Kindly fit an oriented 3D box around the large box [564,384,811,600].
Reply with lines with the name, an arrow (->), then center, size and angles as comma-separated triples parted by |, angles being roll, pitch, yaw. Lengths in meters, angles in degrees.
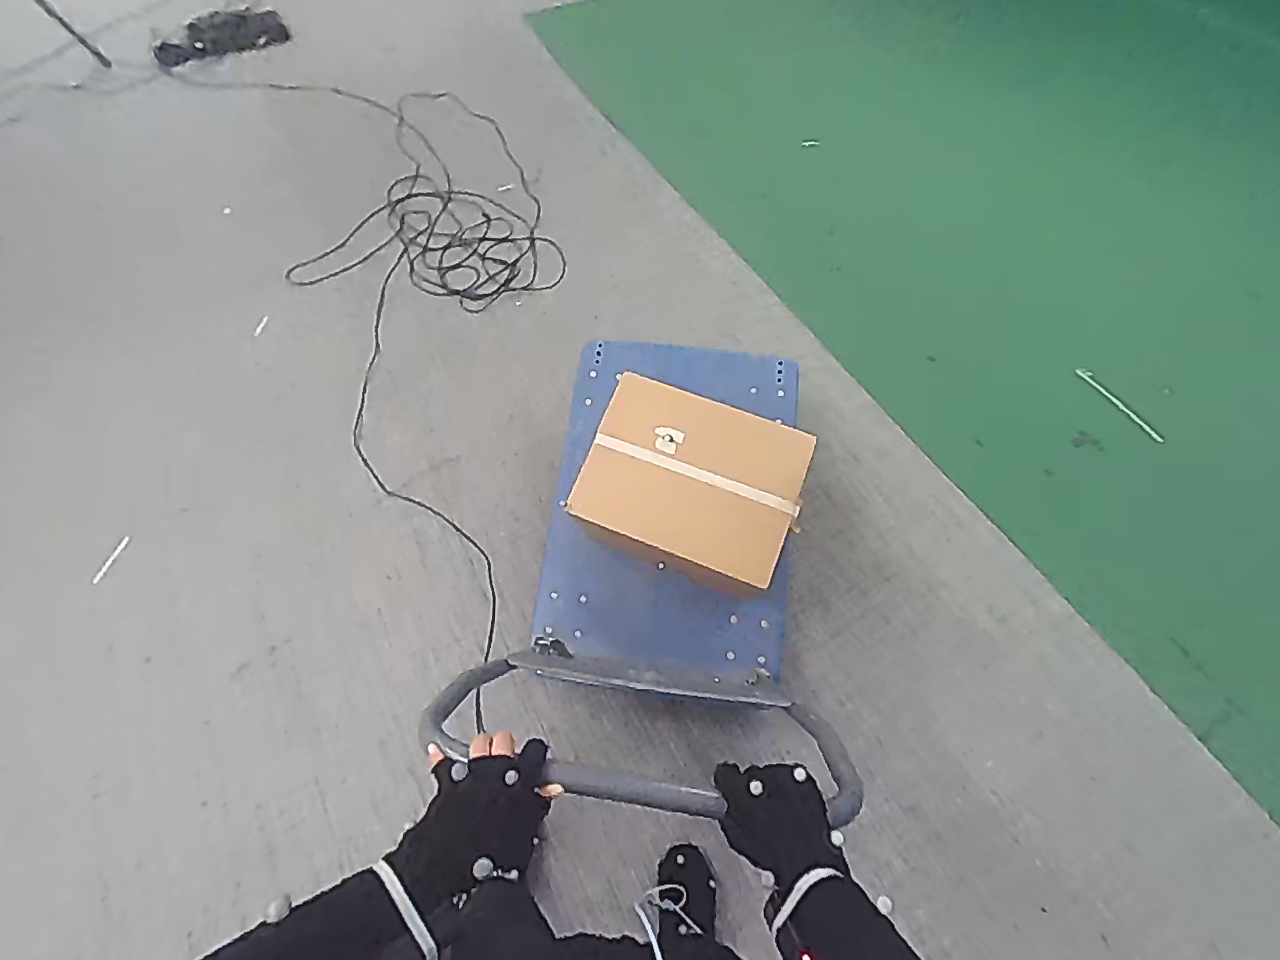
large box -> 0.103, 0.044, 1.173 | 0.408, 0.320, 0.320 | 21, 76, 9
